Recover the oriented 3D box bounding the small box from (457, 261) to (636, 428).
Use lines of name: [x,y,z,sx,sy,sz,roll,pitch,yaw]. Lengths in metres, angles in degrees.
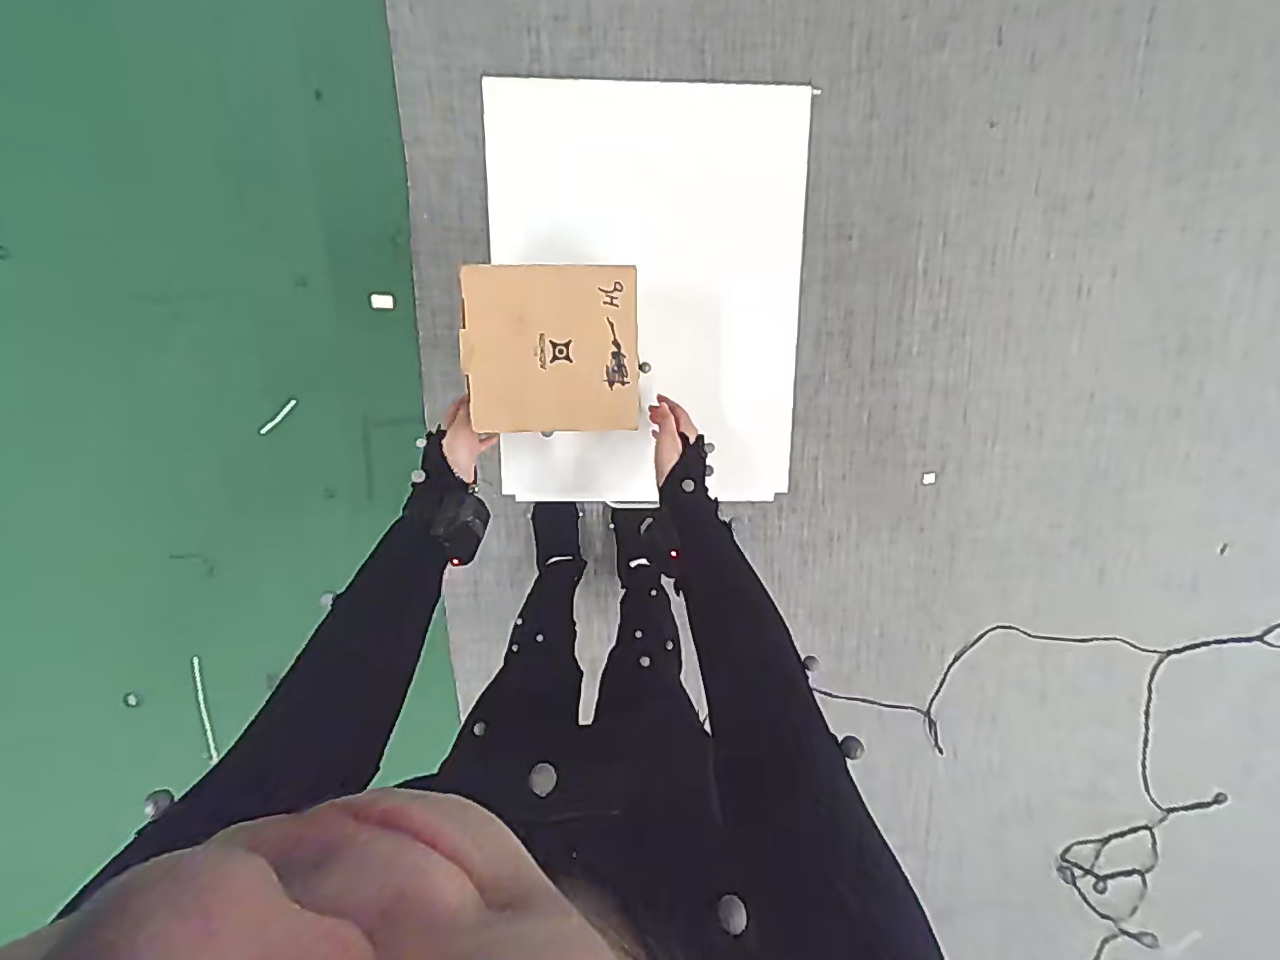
small box: [-0.095,-0.149,0.620,0.179,0.176,0.168,-1,102,-3]
